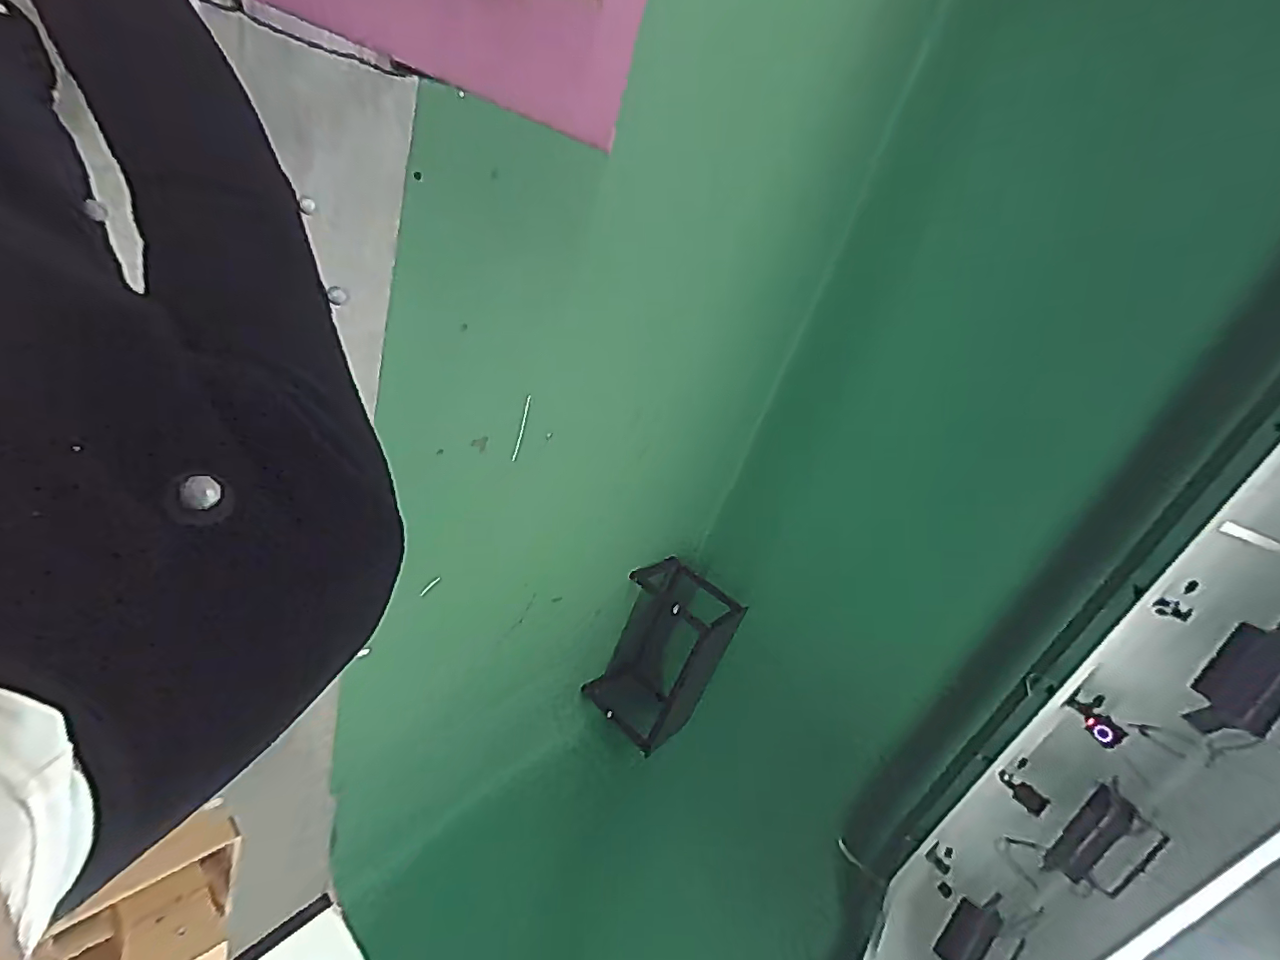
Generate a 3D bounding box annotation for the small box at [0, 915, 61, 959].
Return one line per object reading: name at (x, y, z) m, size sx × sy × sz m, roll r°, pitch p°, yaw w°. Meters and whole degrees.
small box at (-1.487, 1.174, 1.260) m, size 0.168 × 0.176 × 0.179 m, roll -8°, pitch 126°, yaw -55°

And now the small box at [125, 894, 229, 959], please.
small box at (-1.204, 1.231, 1.403) m, size 0.168 × 0.176 × 0.179 m, roll -5°, pitch 123°, yaw -54°

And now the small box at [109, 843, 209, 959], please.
small box at (-1.326, 1.158, 1.487) m, size 0.168 × 0.176 × 0.179 m, roll -5°, pitch 124°, yaw -57°
